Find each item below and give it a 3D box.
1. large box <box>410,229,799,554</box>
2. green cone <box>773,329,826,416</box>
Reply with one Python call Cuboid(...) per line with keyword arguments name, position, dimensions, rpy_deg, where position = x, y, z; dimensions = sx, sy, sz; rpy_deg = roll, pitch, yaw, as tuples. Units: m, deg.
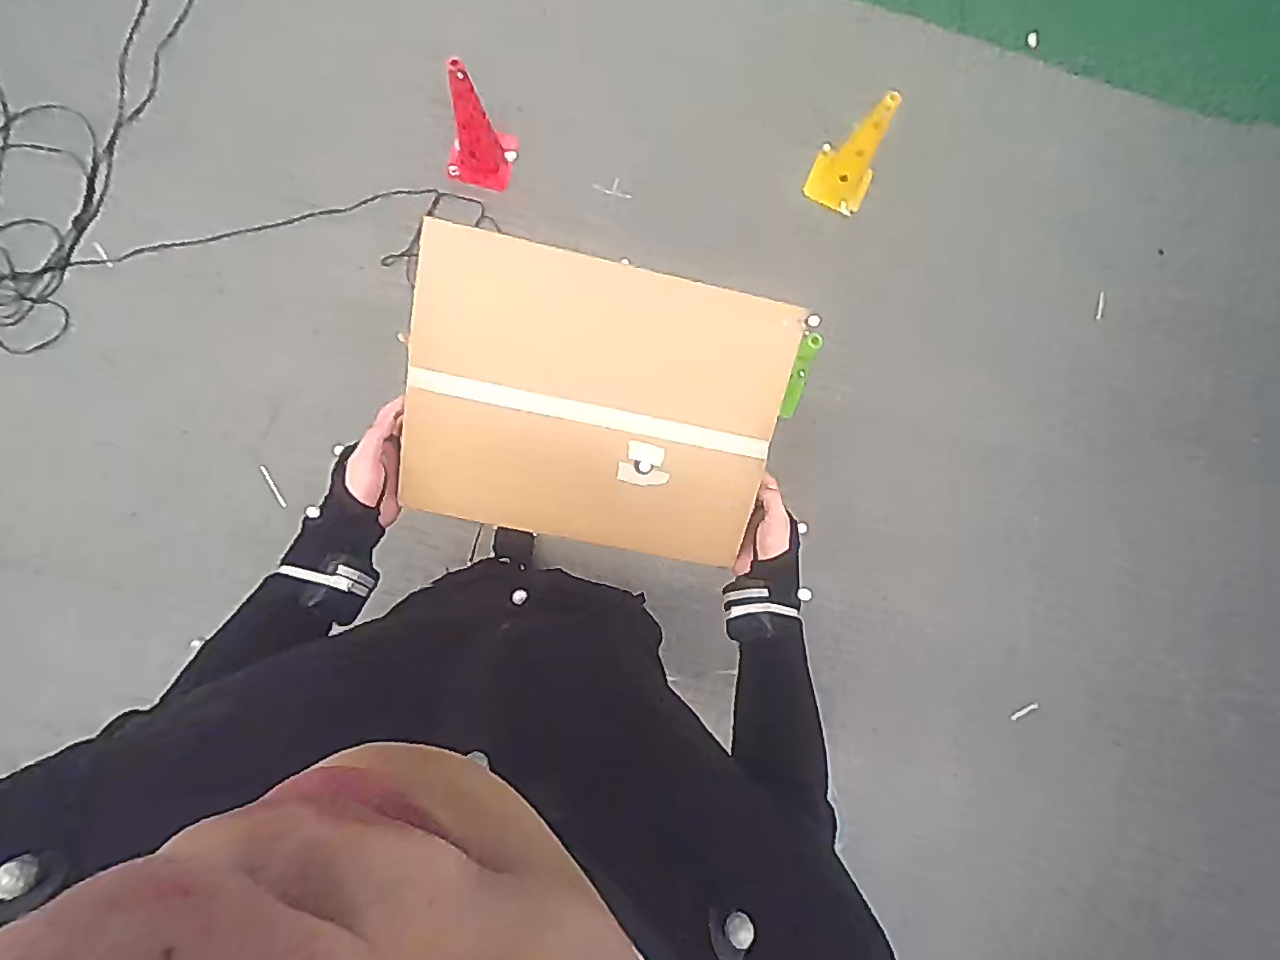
Cuboid(name="large box", position=(-0.057, -0.124, 0.749), dimensions=(0.408, 0.320, 0.320), rpy_deg=(10, 107, -6))
Cuboid(name="green cone", position=(0.453, -0.349, 1.588), dimensions=(0.200, 0.368, 0.202), rpy_deg=(21, 81, -2))
